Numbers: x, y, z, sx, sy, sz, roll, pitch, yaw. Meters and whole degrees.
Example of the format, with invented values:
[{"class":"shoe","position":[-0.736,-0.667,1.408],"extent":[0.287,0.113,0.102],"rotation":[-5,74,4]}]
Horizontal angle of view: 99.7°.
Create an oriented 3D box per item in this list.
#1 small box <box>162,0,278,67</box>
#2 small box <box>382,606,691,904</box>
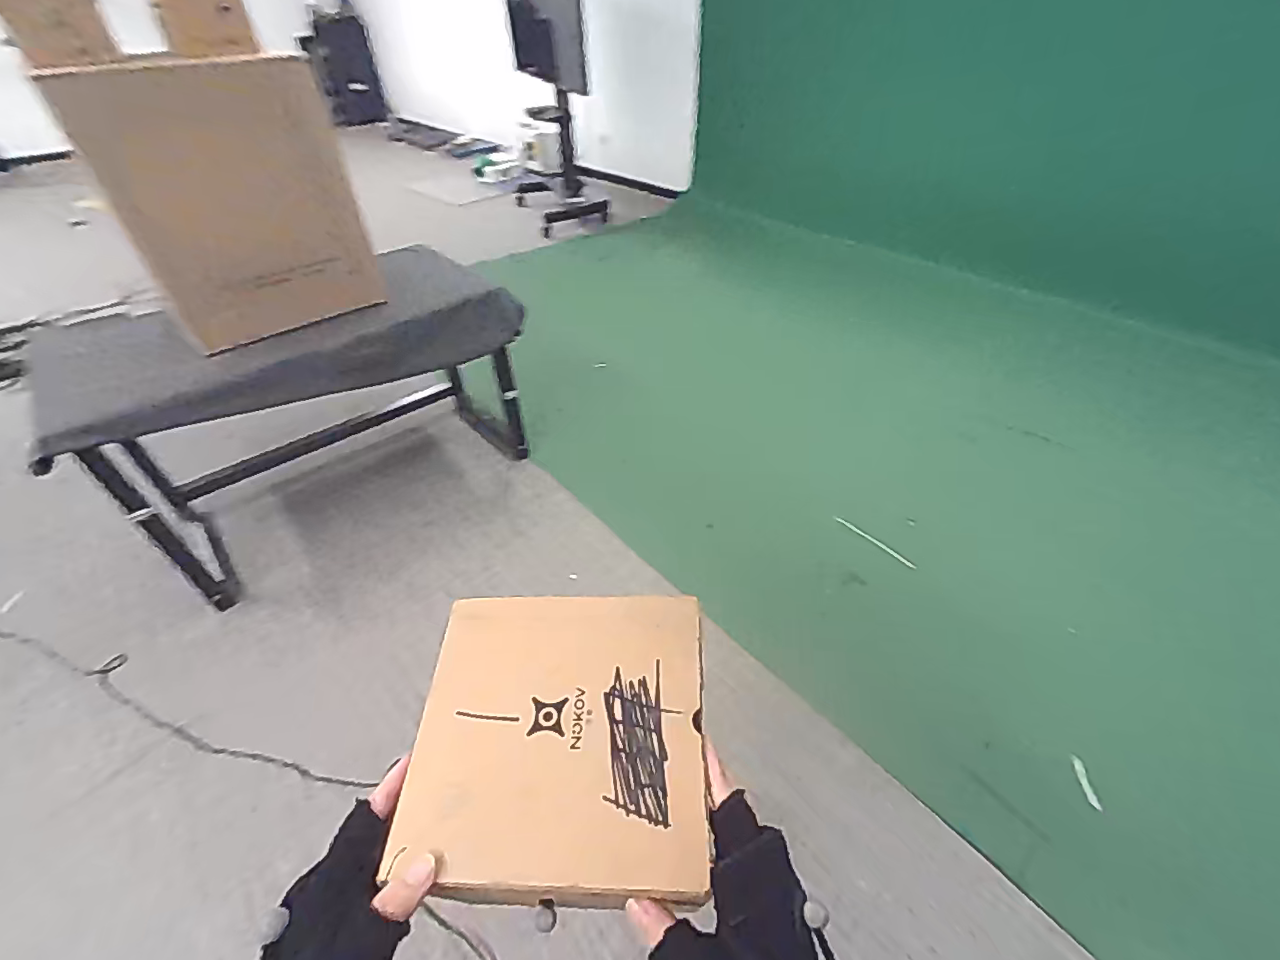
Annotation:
[{"class":"small box","position":[-0.987,-1.078,1.263],"extent":[0.168,0.176,0.179],"rotation":[-31,50,-31]},{"class":"small box","position":[-0.054,0.211,0.412],"extent":[0.179,0.176,0.168],"rotation":[0,48,3]}]
